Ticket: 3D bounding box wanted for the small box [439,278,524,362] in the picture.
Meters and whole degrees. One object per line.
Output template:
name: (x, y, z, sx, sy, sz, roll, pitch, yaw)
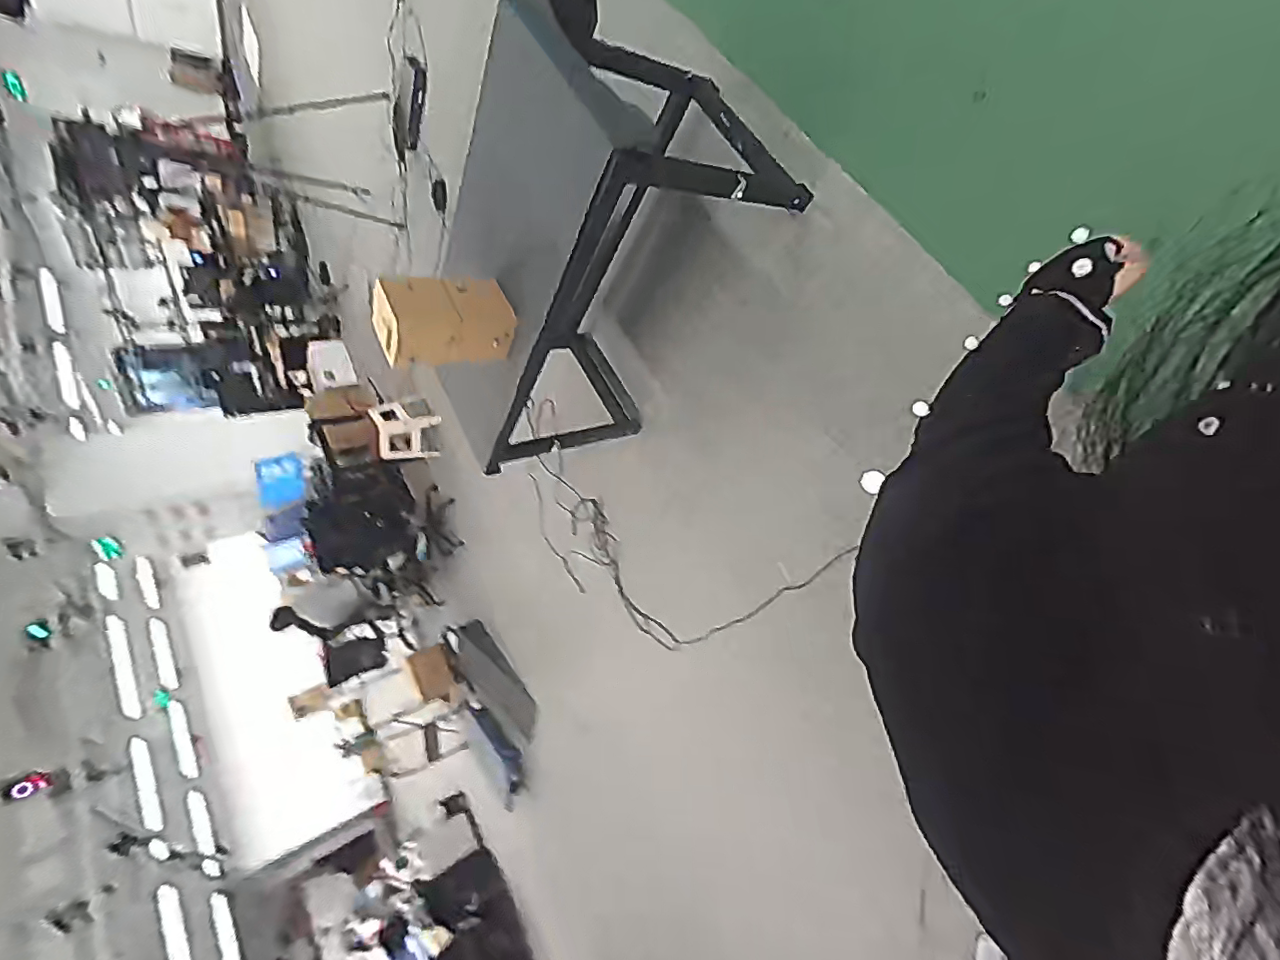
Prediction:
small box: (-0.463, -0.466, 1.579, 0.179, 0.176, 0.168, 58, 141, 20)
